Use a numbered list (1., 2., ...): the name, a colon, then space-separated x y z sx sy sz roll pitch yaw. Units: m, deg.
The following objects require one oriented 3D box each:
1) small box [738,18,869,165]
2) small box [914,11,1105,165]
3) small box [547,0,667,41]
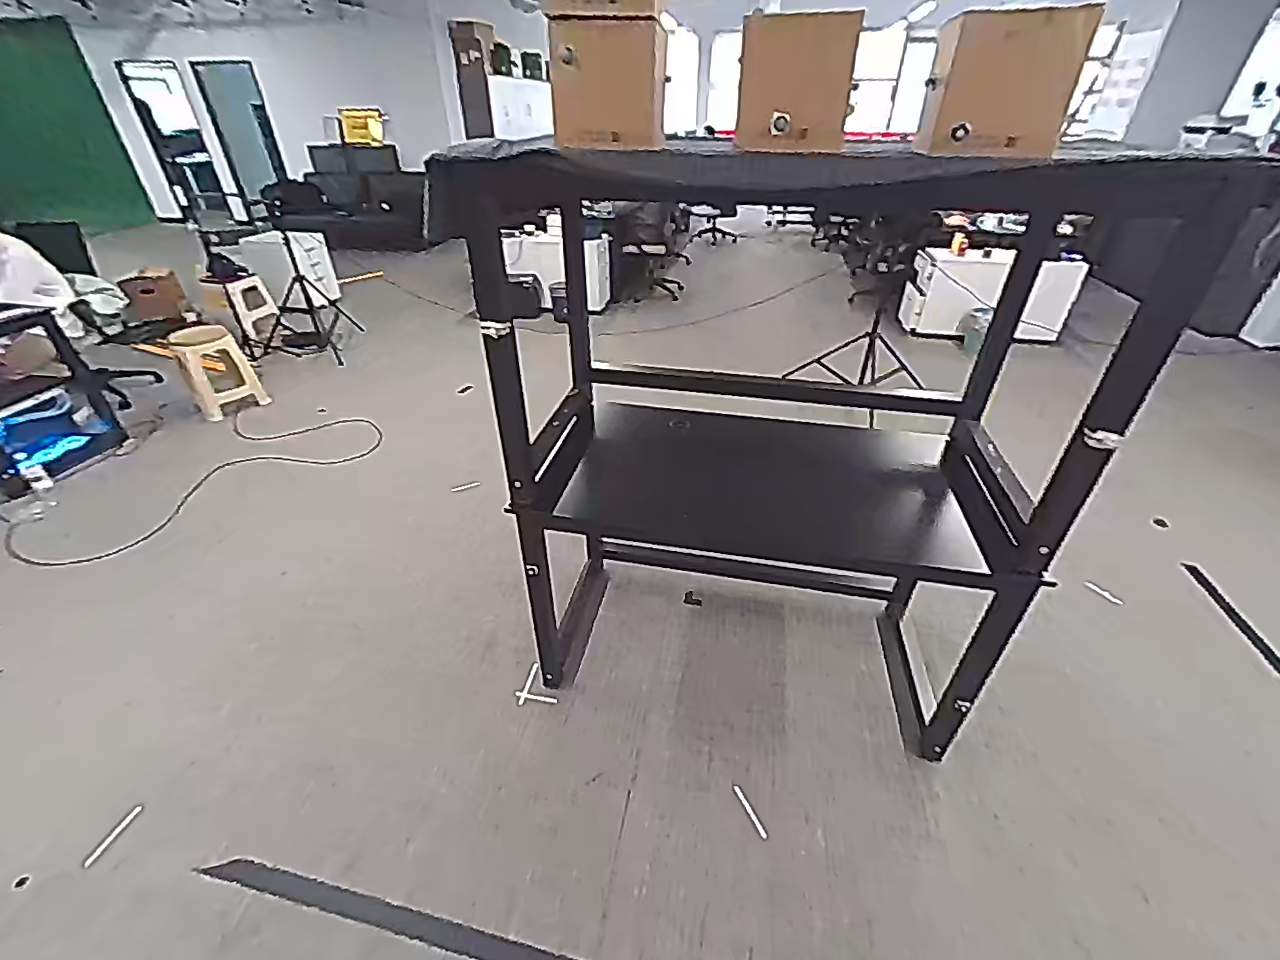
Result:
1. small box: 0.248 -0.598 0.847 0.168 0.176 0.179 7 34 13
2. small box: 0.527 -0.570 0.804 0.168 0.176 0.179 8 34 12
3. small box: -0.045 -0.767 0.799 0.168 0.176 0.179 5 34 3
